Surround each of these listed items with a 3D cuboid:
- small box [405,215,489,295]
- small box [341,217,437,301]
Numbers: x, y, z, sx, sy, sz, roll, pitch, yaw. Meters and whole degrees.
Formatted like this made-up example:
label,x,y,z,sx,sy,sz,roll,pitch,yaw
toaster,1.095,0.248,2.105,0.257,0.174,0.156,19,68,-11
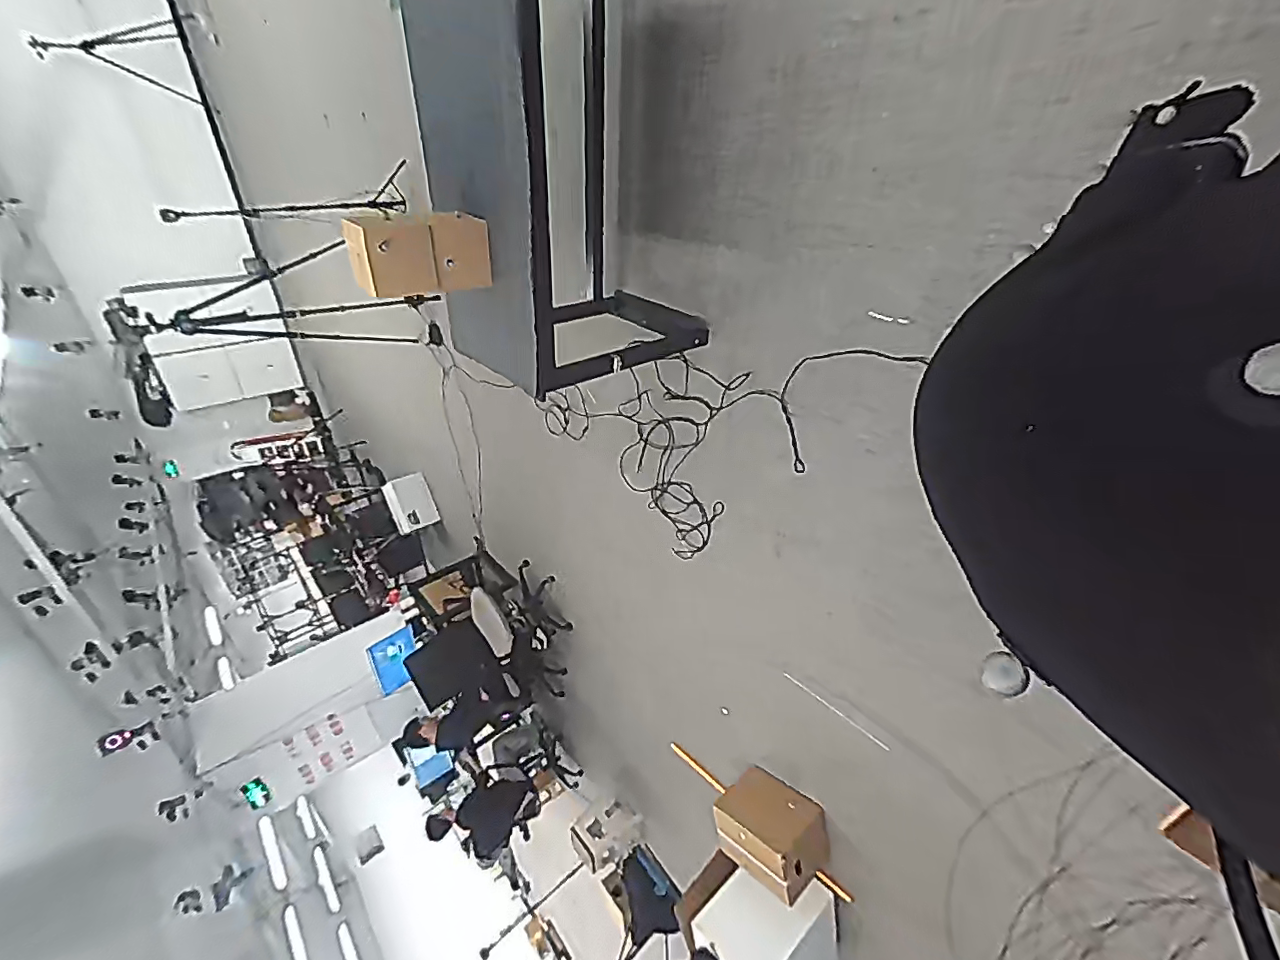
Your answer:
label,x,y,z,sx,sy,sz,roll,pitch,yaw
small box,-0.543,-0.644,1.538,0.168,0.176,0.179,35,134,36
small box,-0.662,-0.592,1.436,0.168,0.176,0.179,35,134,38
